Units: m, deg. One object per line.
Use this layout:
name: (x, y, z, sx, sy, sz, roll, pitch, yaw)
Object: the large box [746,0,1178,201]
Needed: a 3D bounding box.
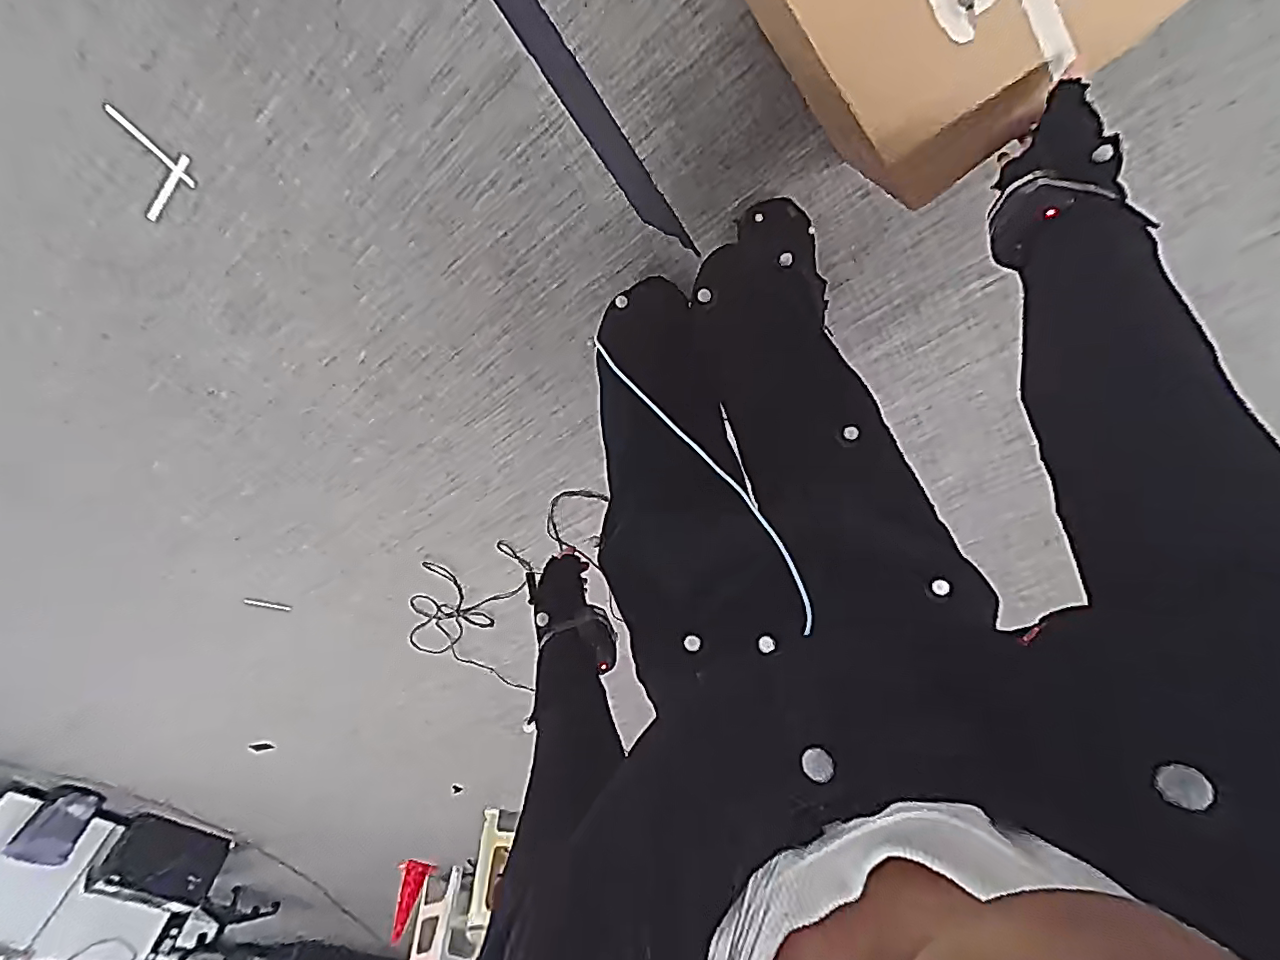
large box: (0.280, -0.588, 0.552, 0.320, 0.320, 0.408, -35, 120, 28)
